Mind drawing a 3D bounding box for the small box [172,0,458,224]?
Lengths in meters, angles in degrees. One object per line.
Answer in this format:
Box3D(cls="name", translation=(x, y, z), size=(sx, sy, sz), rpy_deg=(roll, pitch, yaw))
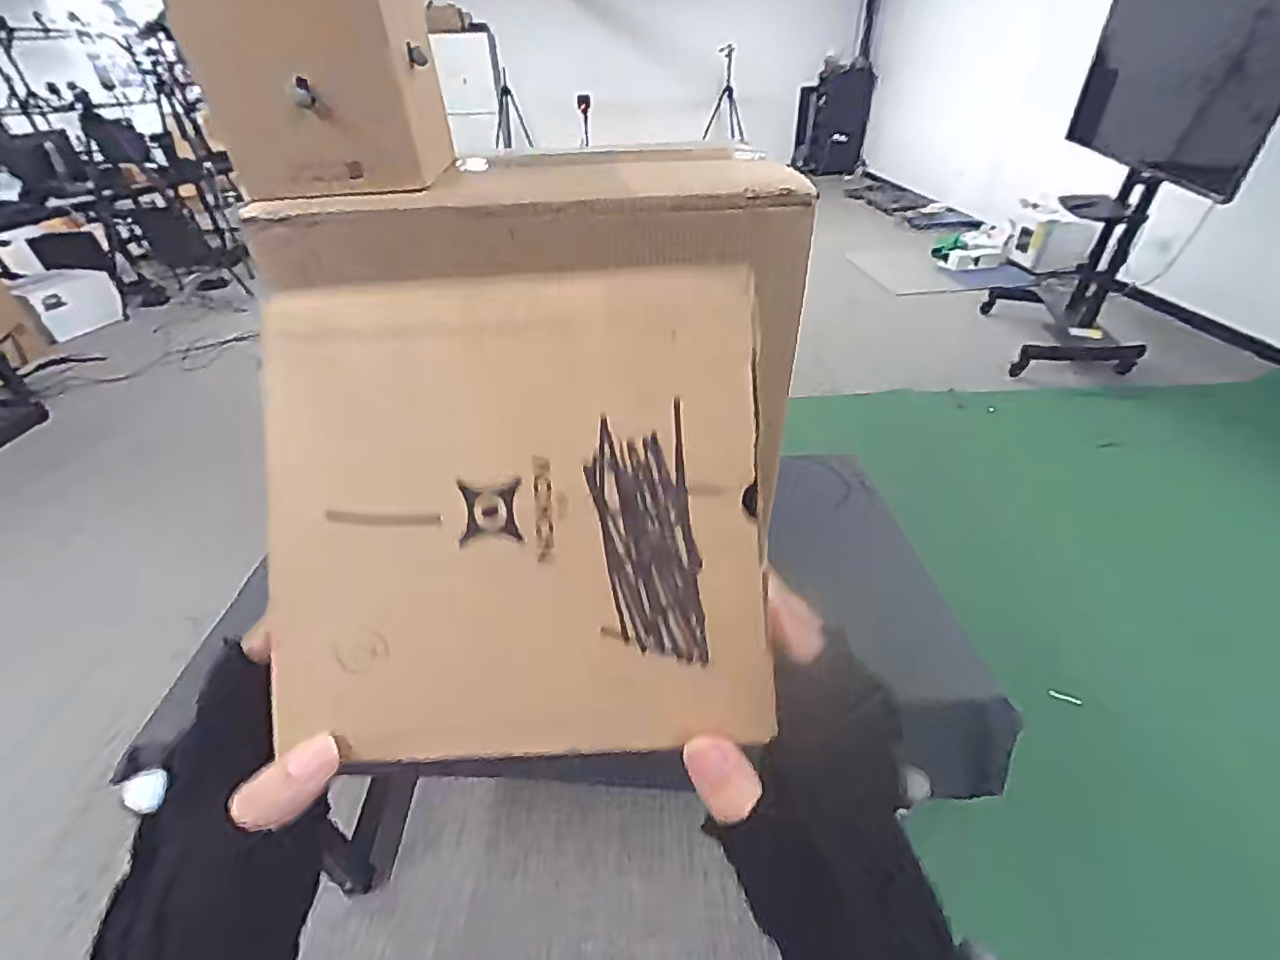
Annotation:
Box3D(cls="small box", translation=(-0.291, -0.365, 0.539), size=(0.168, 0.176, 0.179), rpy_deg=(-8, 40, -4))
